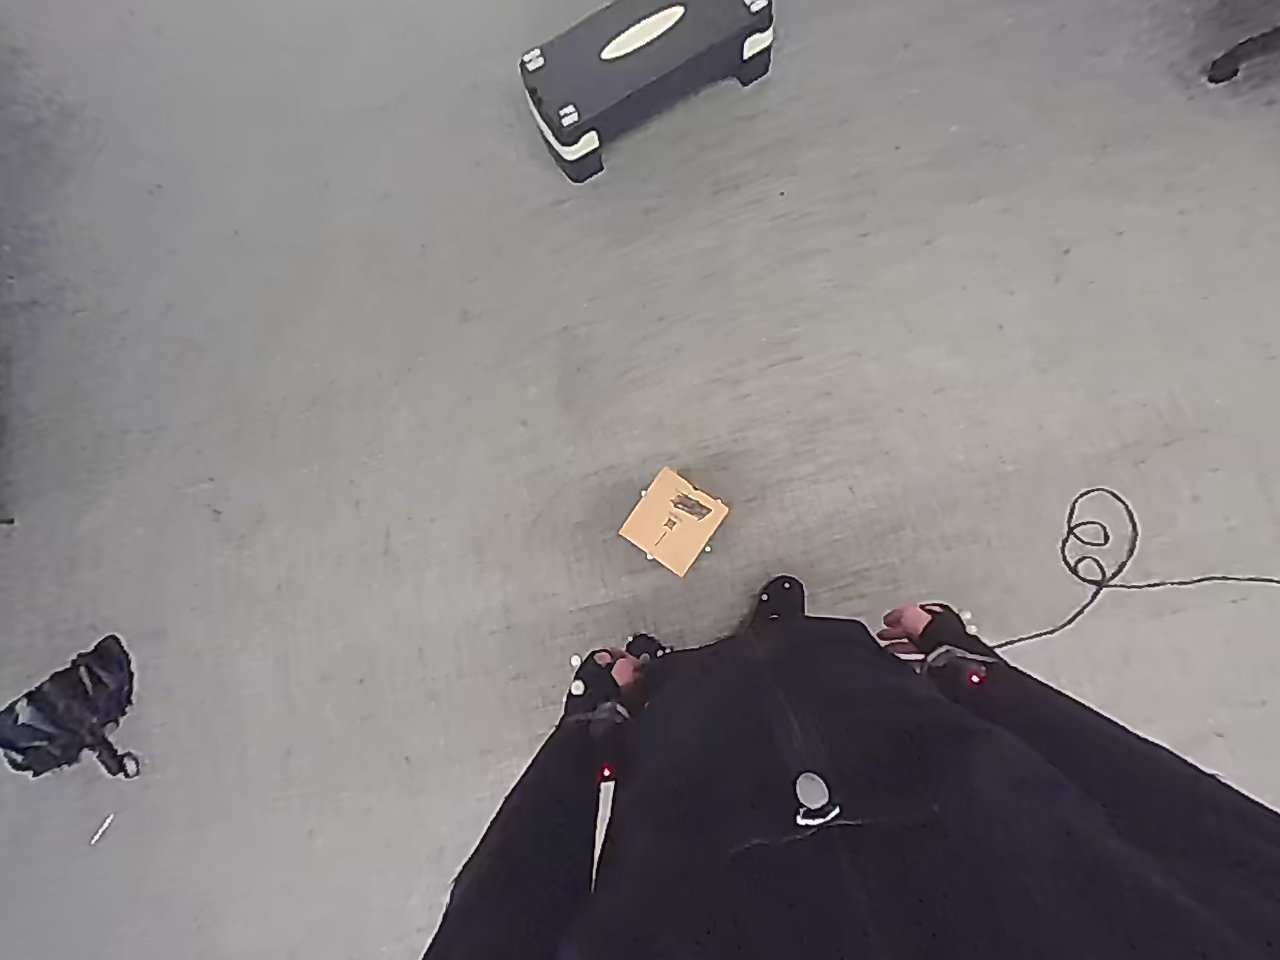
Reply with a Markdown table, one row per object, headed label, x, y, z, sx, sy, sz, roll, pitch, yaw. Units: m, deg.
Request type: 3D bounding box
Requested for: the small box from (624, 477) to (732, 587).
| label | x | y | z | sx | sy | sz | roll | pitch | yaw |
| --- | --- | --- | --- | --- | --- | --- | --- | --- | --- |
| small box | 0.086 | 0.117 | 1.207 | 0.168 | 0.176 | 0.179 | 35 | 89 | 11 |
